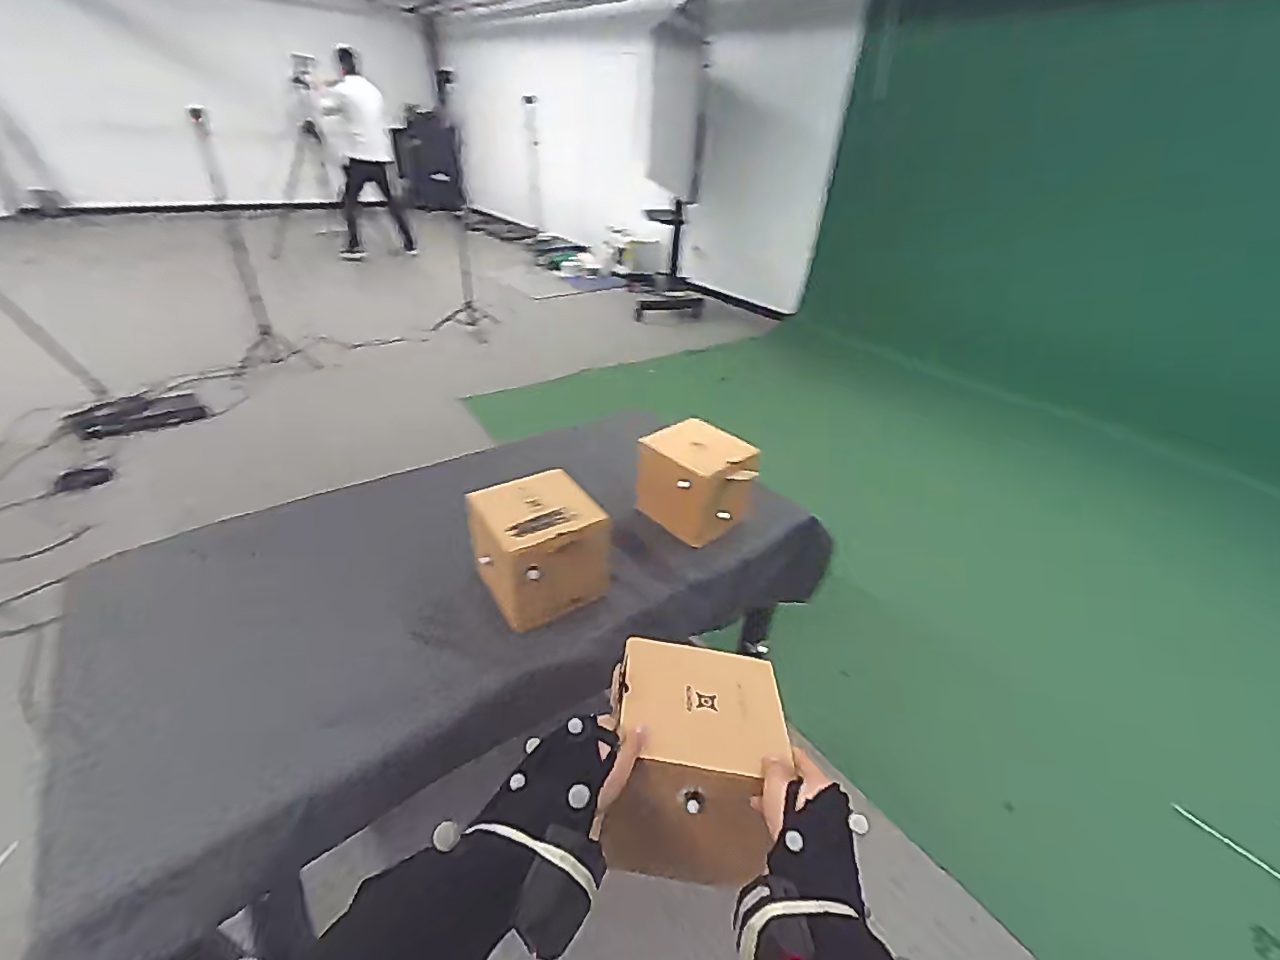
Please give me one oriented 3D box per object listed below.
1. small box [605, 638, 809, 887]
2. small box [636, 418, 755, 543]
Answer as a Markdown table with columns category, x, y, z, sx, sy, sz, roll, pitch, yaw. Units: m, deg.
| category | x | y | z | sx | sy | sz | roll | pitch | yaw |
| --- | --- | --- | --- | --- | --- | --- | --- | --- | --- |
| small box | 0.062 | 0.306 | 0.596 | 0.179 | 0.176 | 0.168 | 11 | 24 | -1 |
| small box | 0.105 | -0.001 | 1.103 | 0.168 | 0.176 | 0.179 | -25 | 44 | -37 |
